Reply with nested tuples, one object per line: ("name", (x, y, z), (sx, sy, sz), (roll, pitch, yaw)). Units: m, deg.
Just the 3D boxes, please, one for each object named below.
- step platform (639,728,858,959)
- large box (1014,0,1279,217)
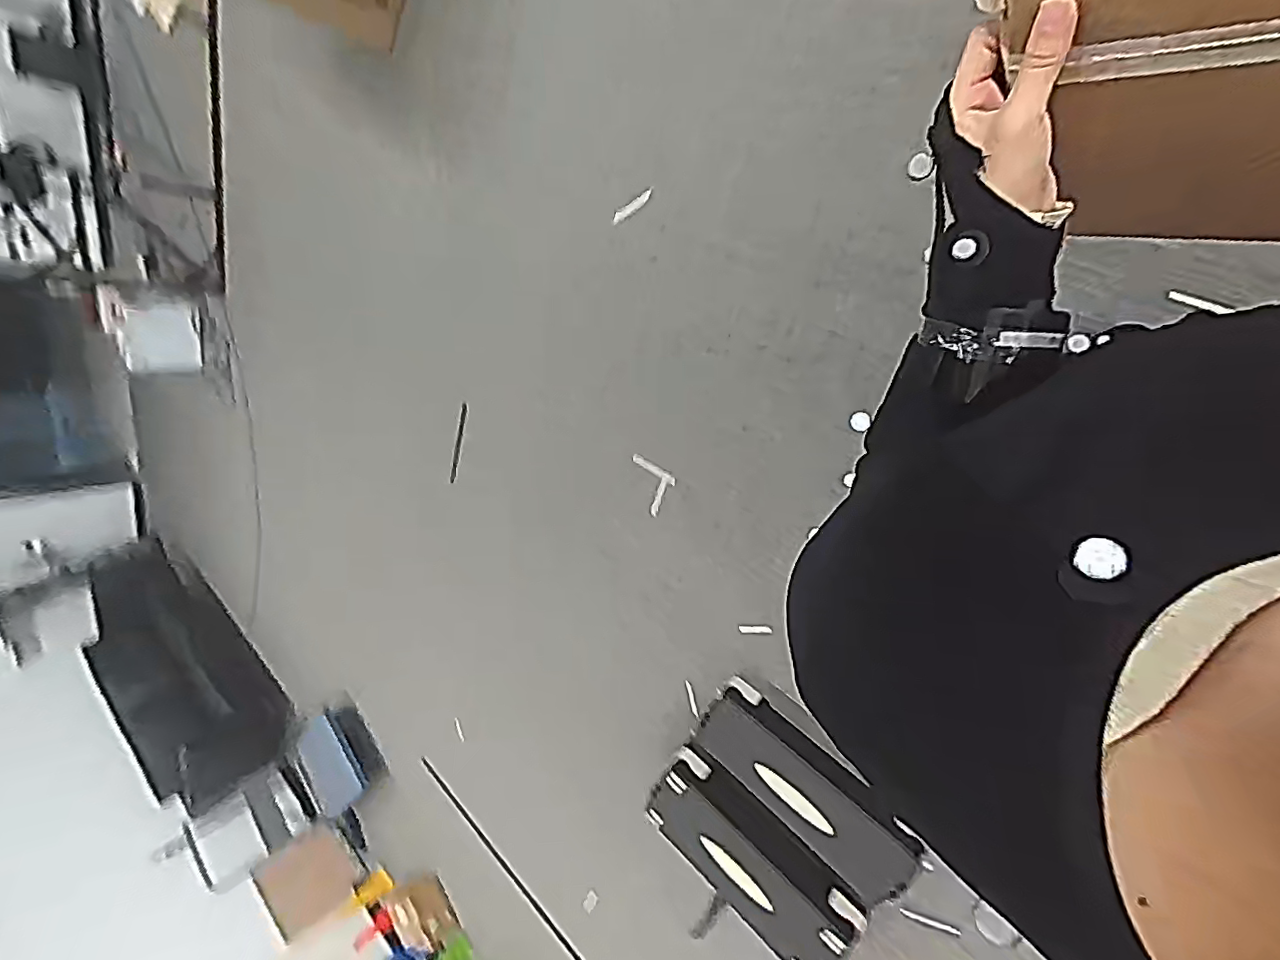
("step platform", (0.313, 1.144, 1.687), (0.684, 0.204, 0.286), (42, 123, 23))
("large box", (0.392, -0.317, 0.163), (0.408, 0.320, 0.320), (20, 89, 37))
